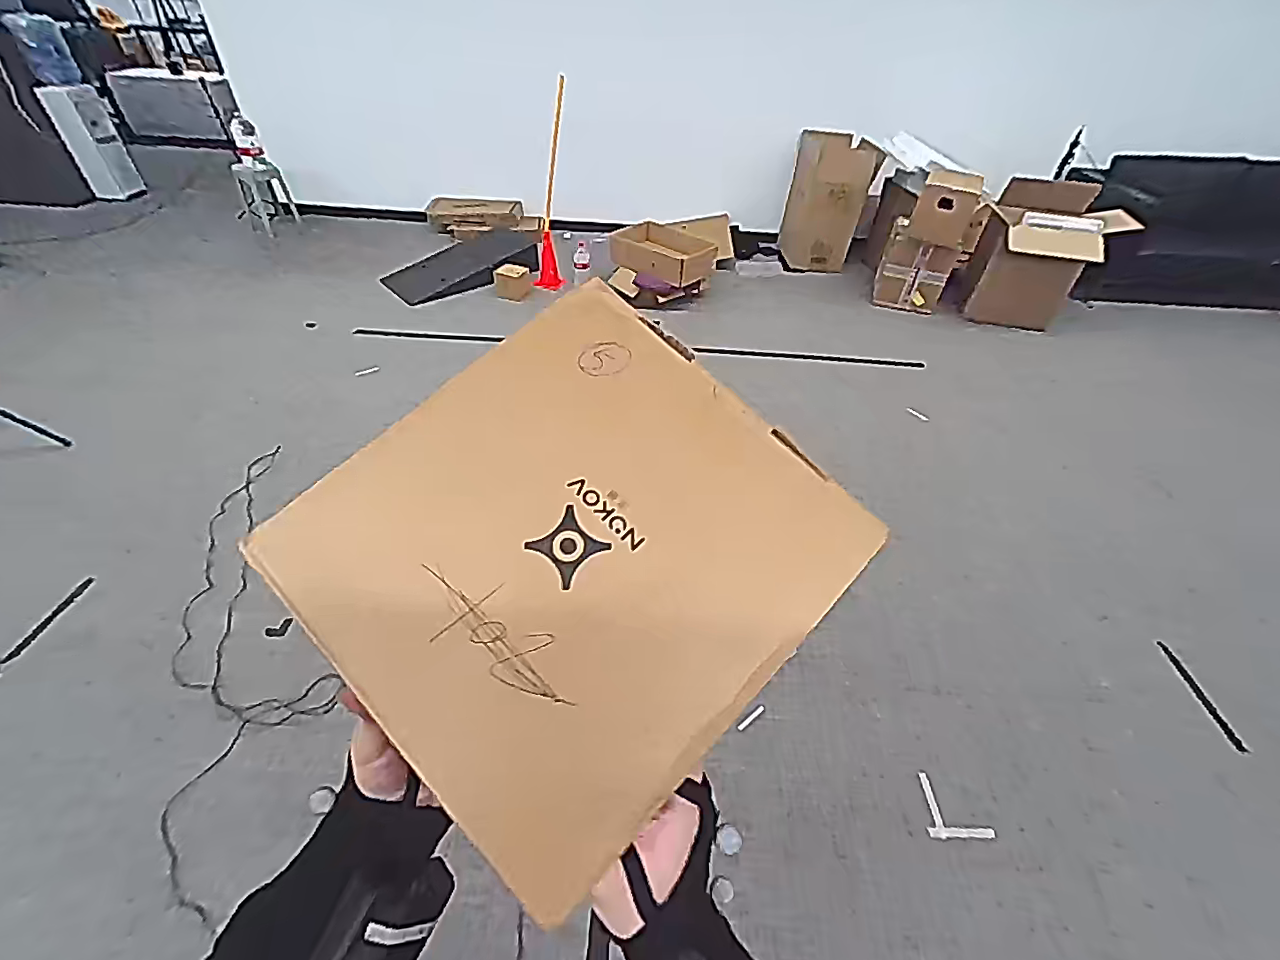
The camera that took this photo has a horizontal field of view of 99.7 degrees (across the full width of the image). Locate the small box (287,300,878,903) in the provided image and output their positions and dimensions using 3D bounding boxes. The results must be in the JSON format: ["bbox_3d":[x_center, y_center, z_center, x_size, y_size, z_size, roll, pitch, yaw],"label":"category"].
[{"bbox_3d":[-0.022,0.052,0.286,0.168,0.176,0.179,42,75,13],"label":"small box"}]
